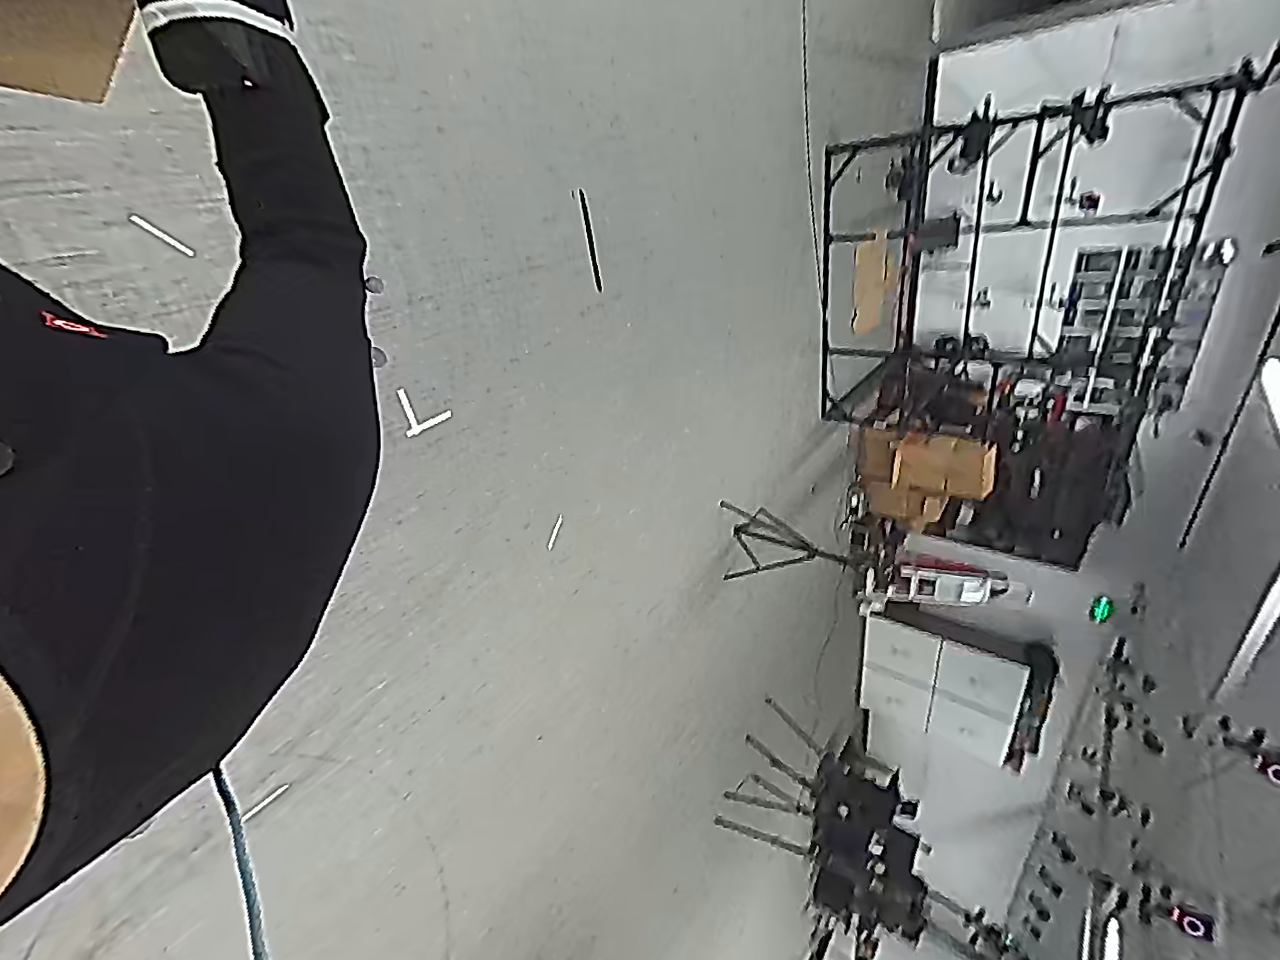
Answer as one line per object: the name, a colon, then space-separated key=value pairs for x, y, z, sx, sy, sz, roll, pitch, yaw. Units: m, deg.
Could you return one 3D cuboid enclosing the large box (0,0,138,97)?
large box: x=-0.528 y=-0.434 z=0.229 sx=0.408 sy=0.320 sz=0.320 roll=-22 pitch=112 yaw=-47
